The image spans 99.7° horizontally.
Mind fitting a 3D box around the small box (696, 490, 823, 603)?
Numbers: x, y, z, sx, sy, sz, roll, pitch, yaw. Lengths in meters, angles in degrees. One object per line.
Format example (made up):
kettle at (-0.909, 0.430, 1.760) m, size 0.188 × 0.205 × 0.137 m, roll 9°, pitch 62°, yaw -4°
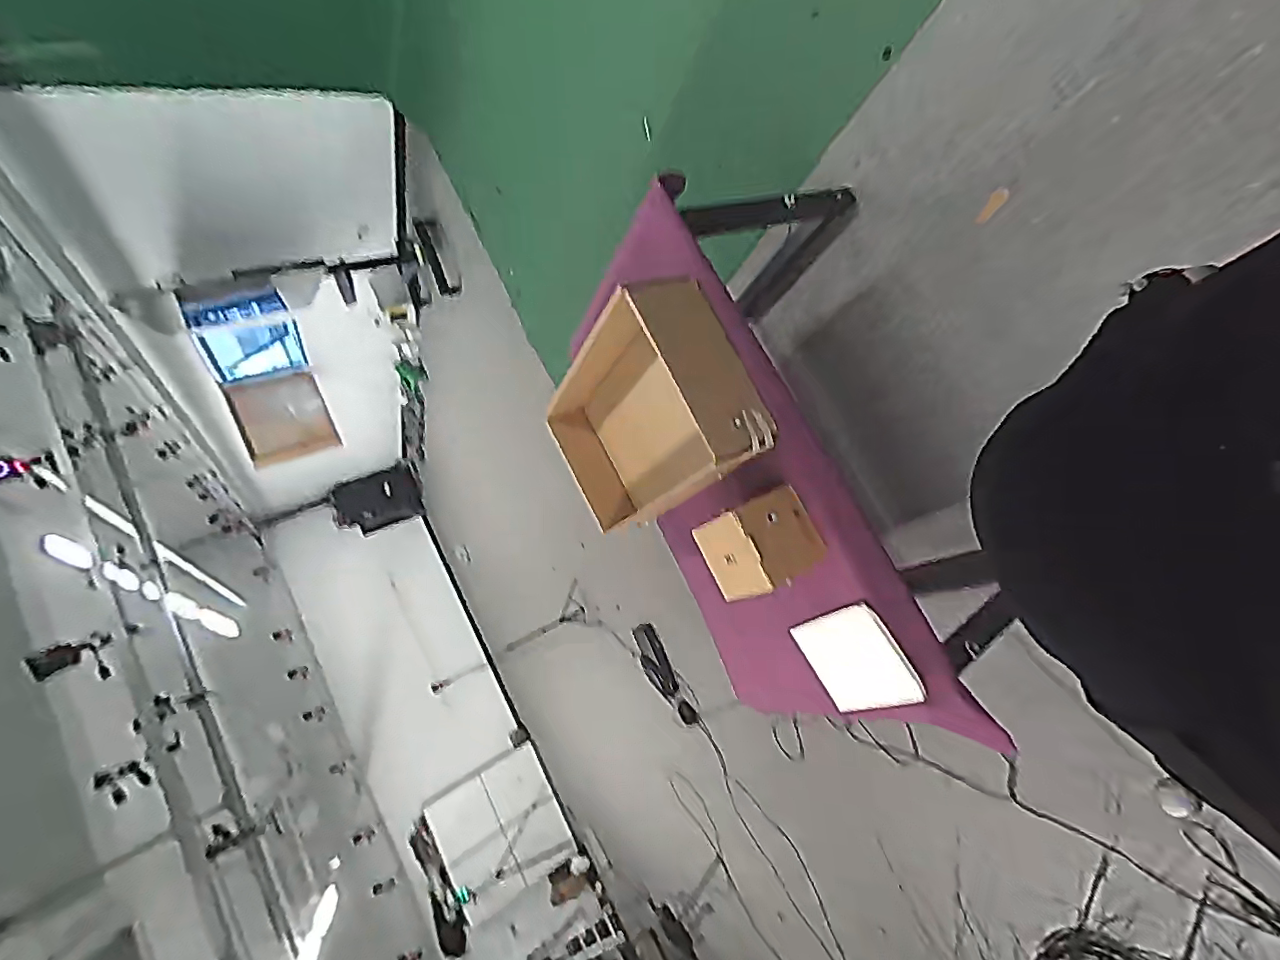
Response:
small box at (0.254, 0.138, 1.130) m, size 0.168 × 0.176 × 0.179 m, roll 64°, pitch 152°, yaw 8°
